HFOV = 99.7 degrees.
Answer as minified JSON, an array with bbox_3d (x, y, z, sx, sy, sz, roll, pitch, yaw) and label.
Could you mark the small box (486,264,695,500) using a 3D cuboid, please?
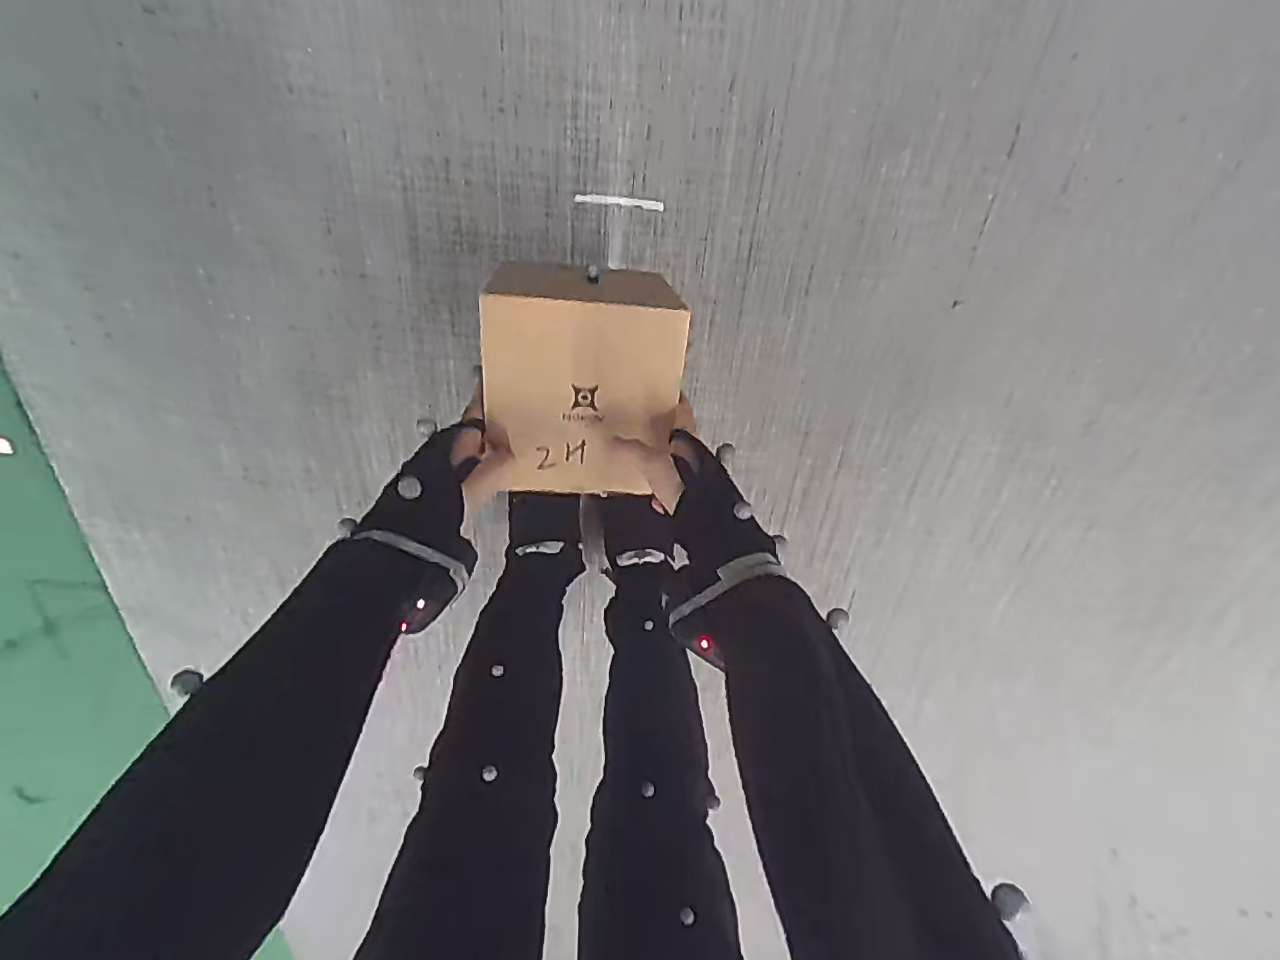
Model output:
[{"bbox_3d":[-0.054,-0.101,0.524,0.168,0.176,0.179,4,121,-8],"label":"small box"}]
